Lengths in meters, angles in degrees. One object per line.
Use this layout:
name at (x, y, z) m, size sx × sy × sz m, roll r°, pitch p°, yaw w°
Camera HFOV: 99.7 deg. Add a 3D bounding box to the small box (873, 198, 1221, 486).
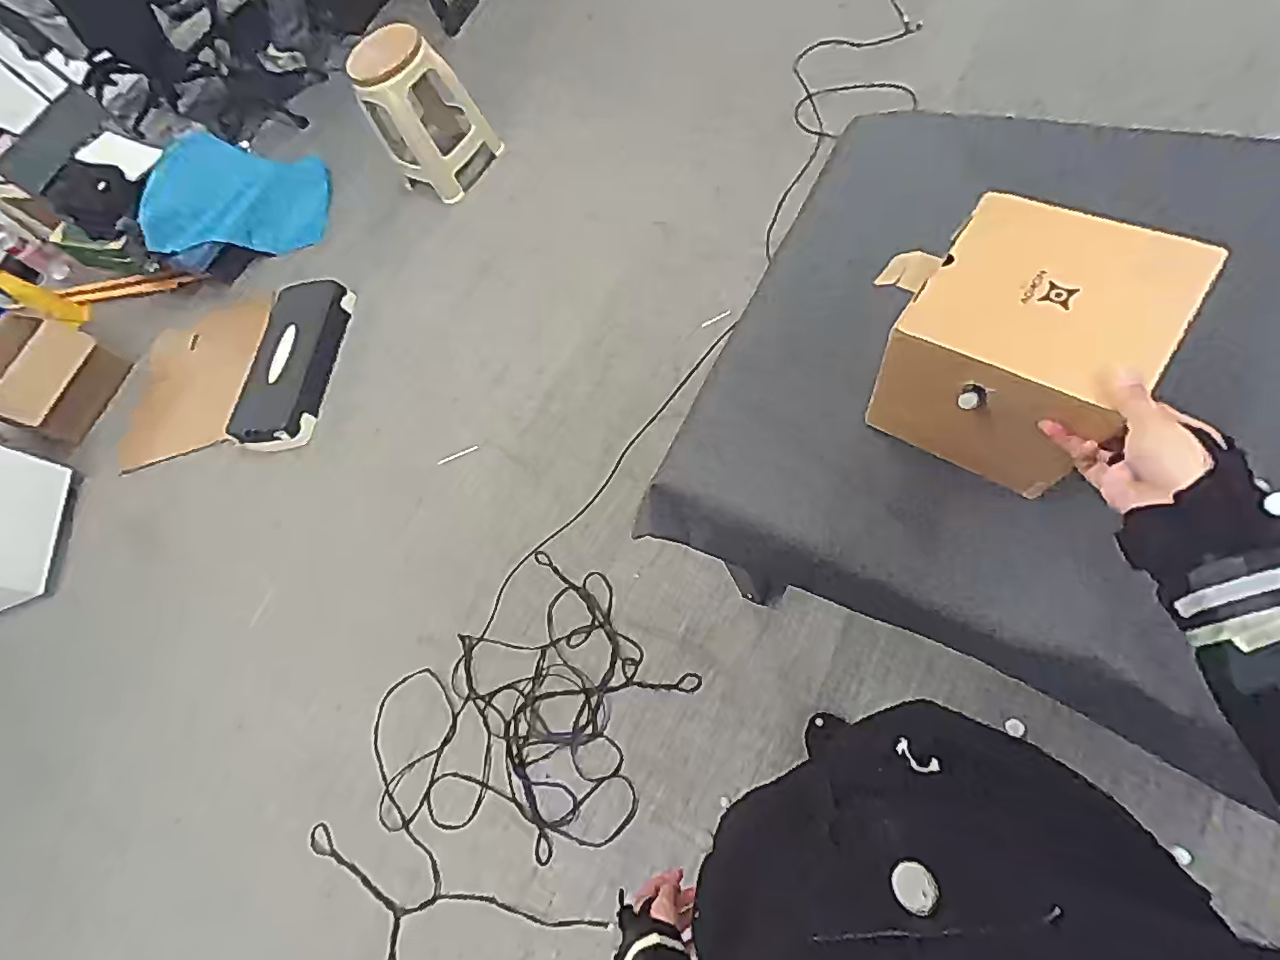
small box at (0.345, -0.114, 0.500) m, size 0.179 × 0.176 × 0.168 m, roll 32°, pitch 78°, yaw 25°
